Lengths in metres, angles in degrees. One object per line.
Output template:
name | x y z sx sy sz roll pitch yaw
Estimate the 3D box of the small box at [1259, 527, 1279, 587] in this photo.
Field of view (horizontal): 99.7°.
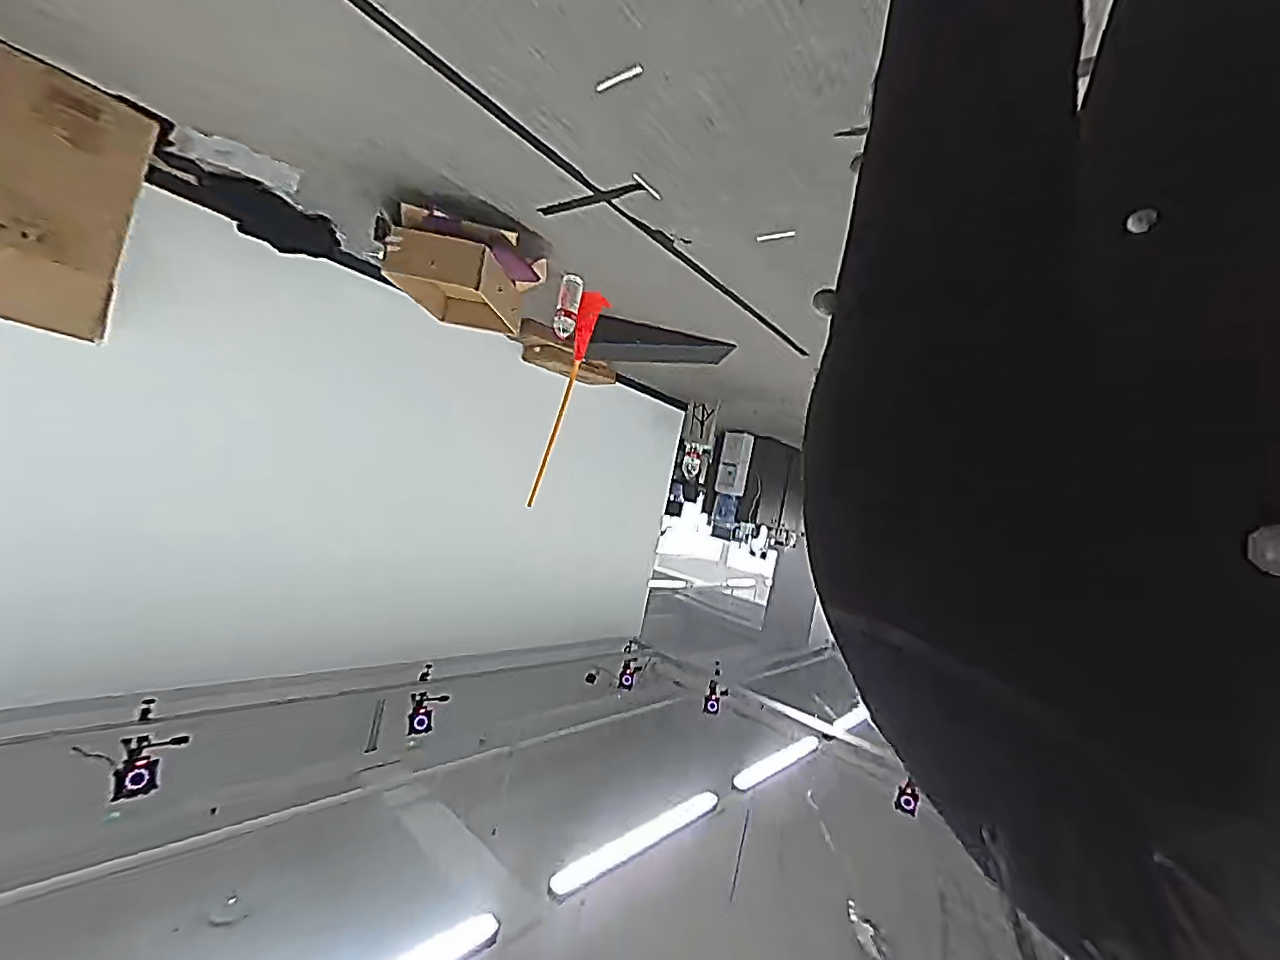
small box | 1.853 0.224 1.482 0.168 0.176 0.179 10 178 42
